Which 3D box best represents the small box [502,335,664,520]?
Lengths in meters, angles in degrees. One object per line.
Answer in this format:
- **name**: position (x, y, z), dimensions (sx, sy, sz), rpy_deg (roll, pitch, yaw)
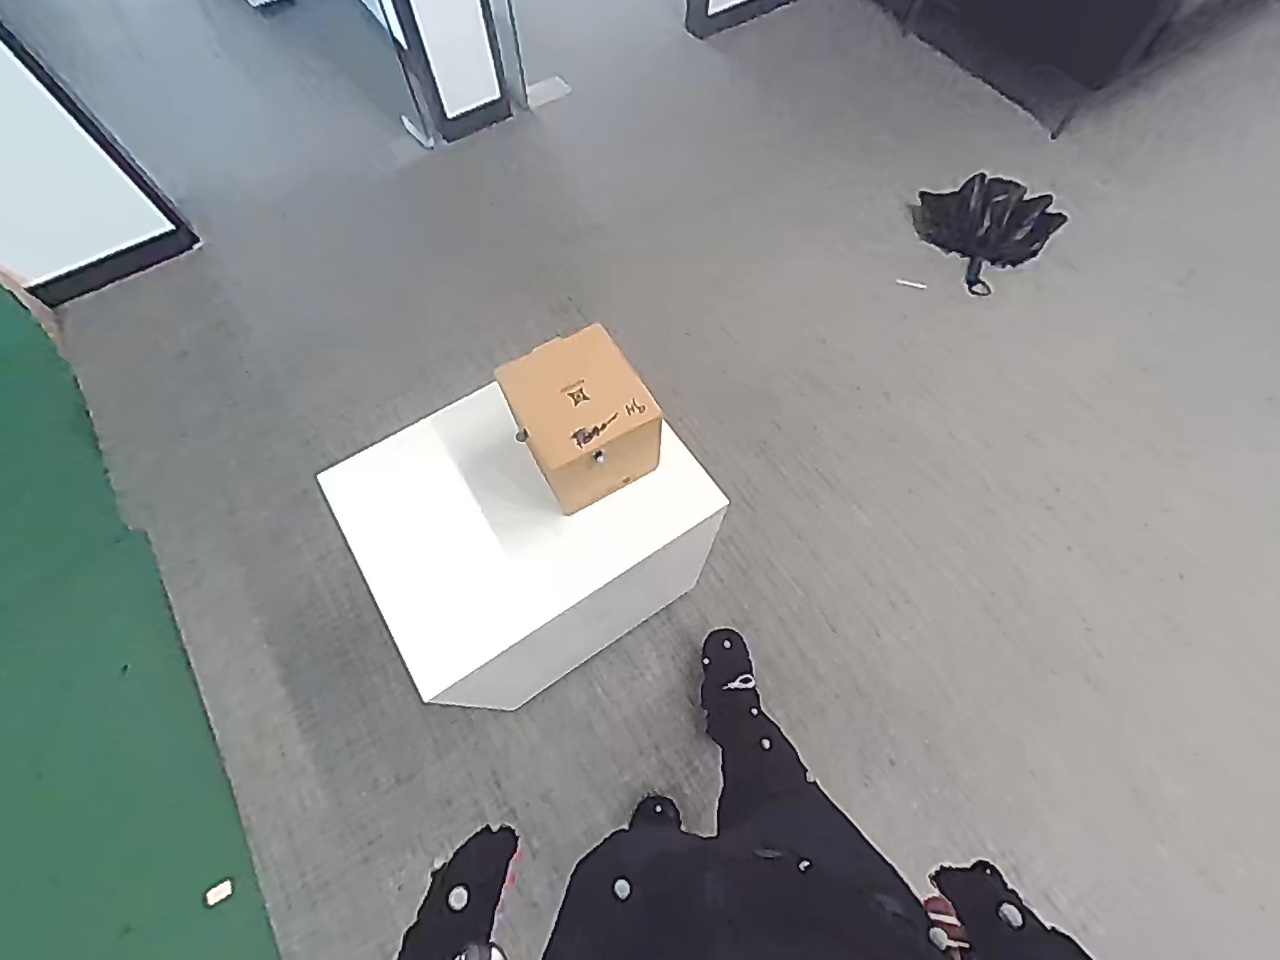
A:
- **small box**: position (-0.079, -0.071, 0.795), dimensions (0.168, 0.176, 0.179), rpy_deg (-28, 68, -11)
